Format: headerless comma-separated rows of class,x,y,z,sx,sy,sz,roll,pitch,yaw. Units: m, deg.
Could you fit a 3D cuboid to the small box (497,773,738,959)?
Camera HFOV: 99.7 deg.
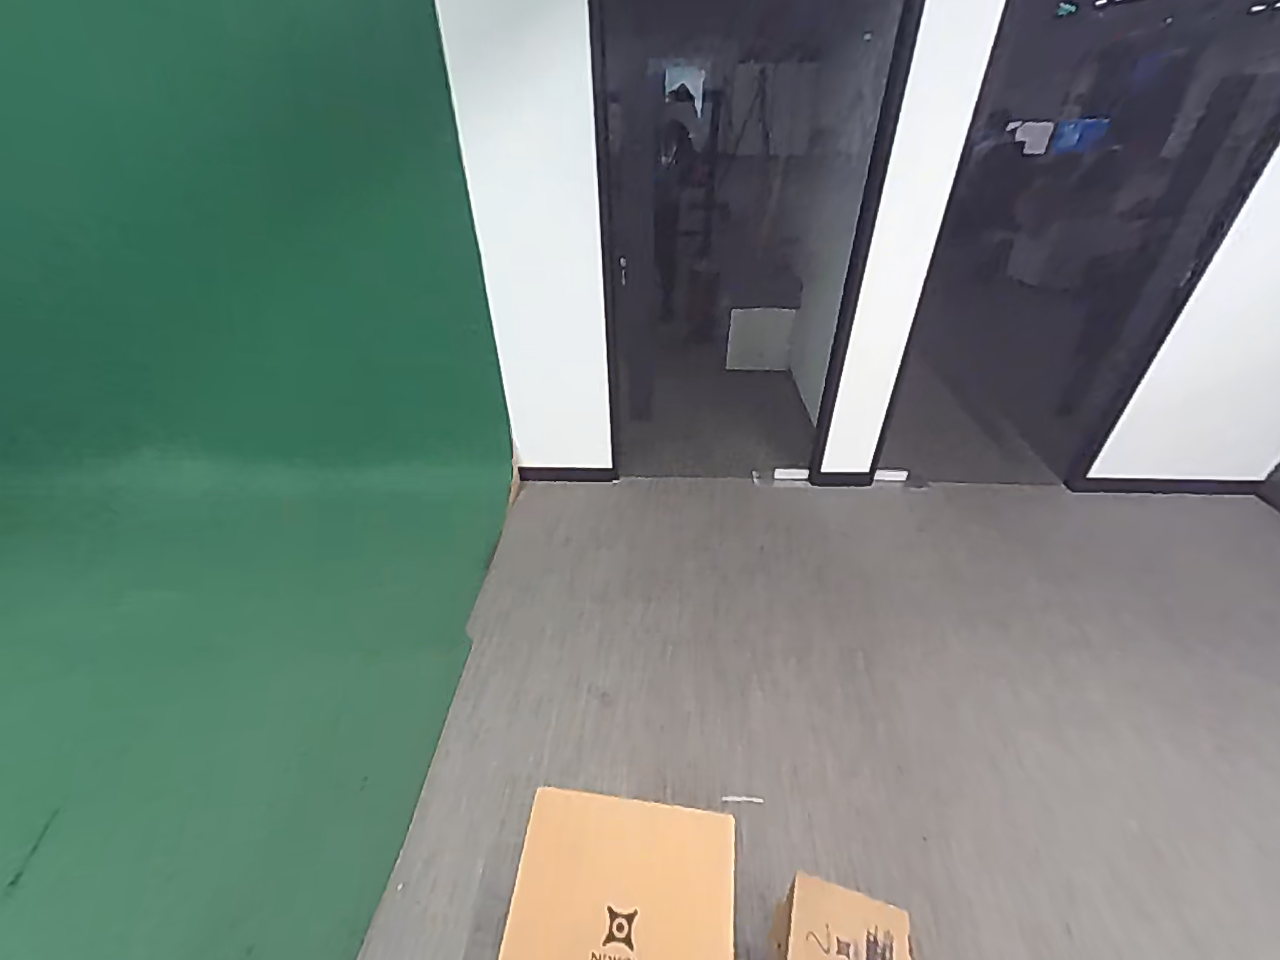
small box,-0.016,0.366,0.443,0.168,0.176,0.179,6,49,4

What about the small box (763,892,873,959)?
small box,0.308,0.888,0.959,0.168,0.176,0.179,10,38,14
